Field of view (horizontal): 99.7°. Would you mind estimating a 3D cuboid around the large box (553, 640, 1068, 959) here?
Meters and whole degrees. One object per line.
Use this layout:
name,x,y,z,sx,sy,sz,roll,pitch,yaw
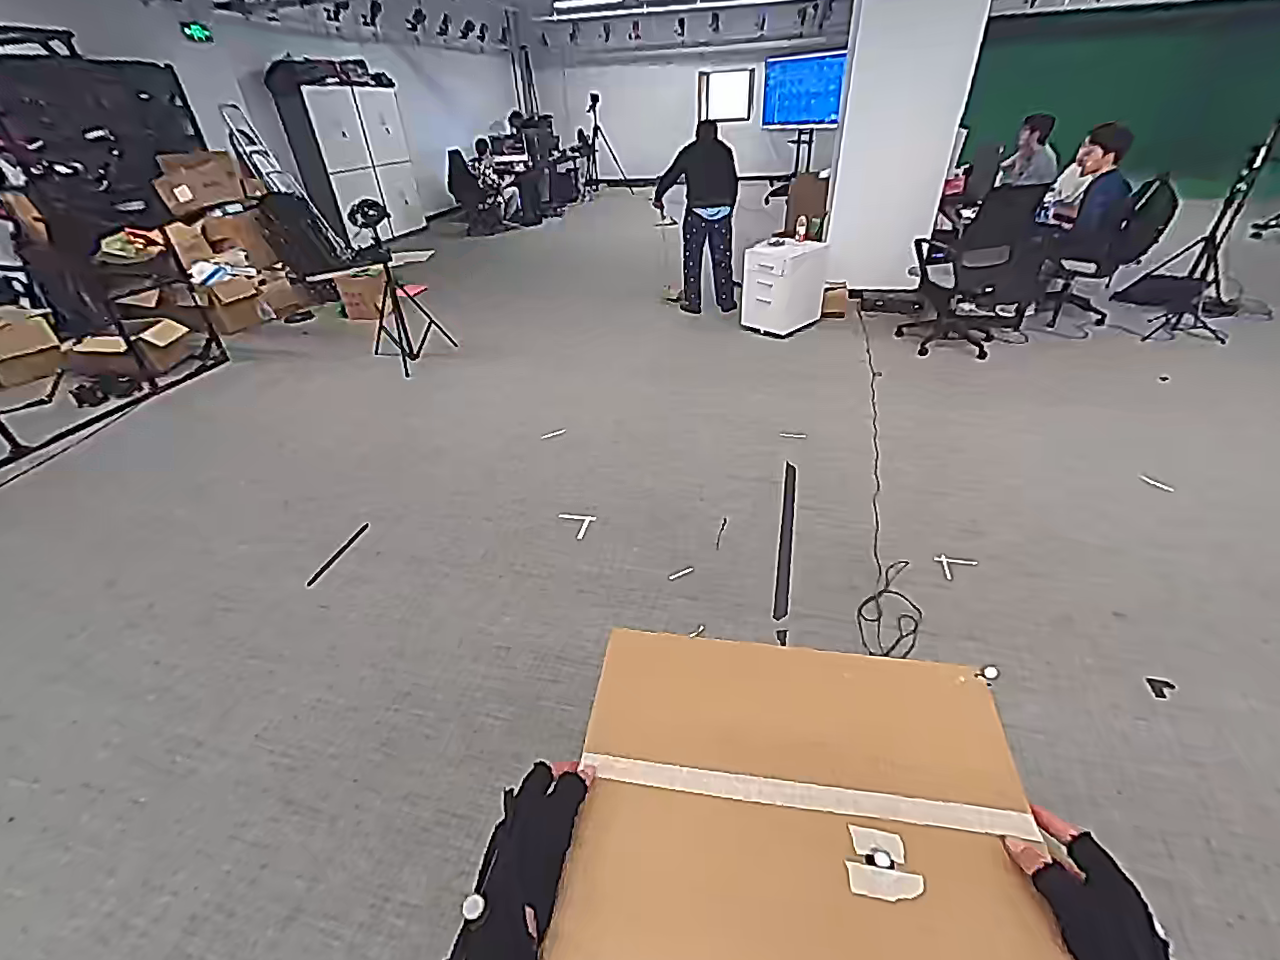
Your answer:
large box,0.153,0.413,0.603,0.408,0.320,0.320,4,41,9
